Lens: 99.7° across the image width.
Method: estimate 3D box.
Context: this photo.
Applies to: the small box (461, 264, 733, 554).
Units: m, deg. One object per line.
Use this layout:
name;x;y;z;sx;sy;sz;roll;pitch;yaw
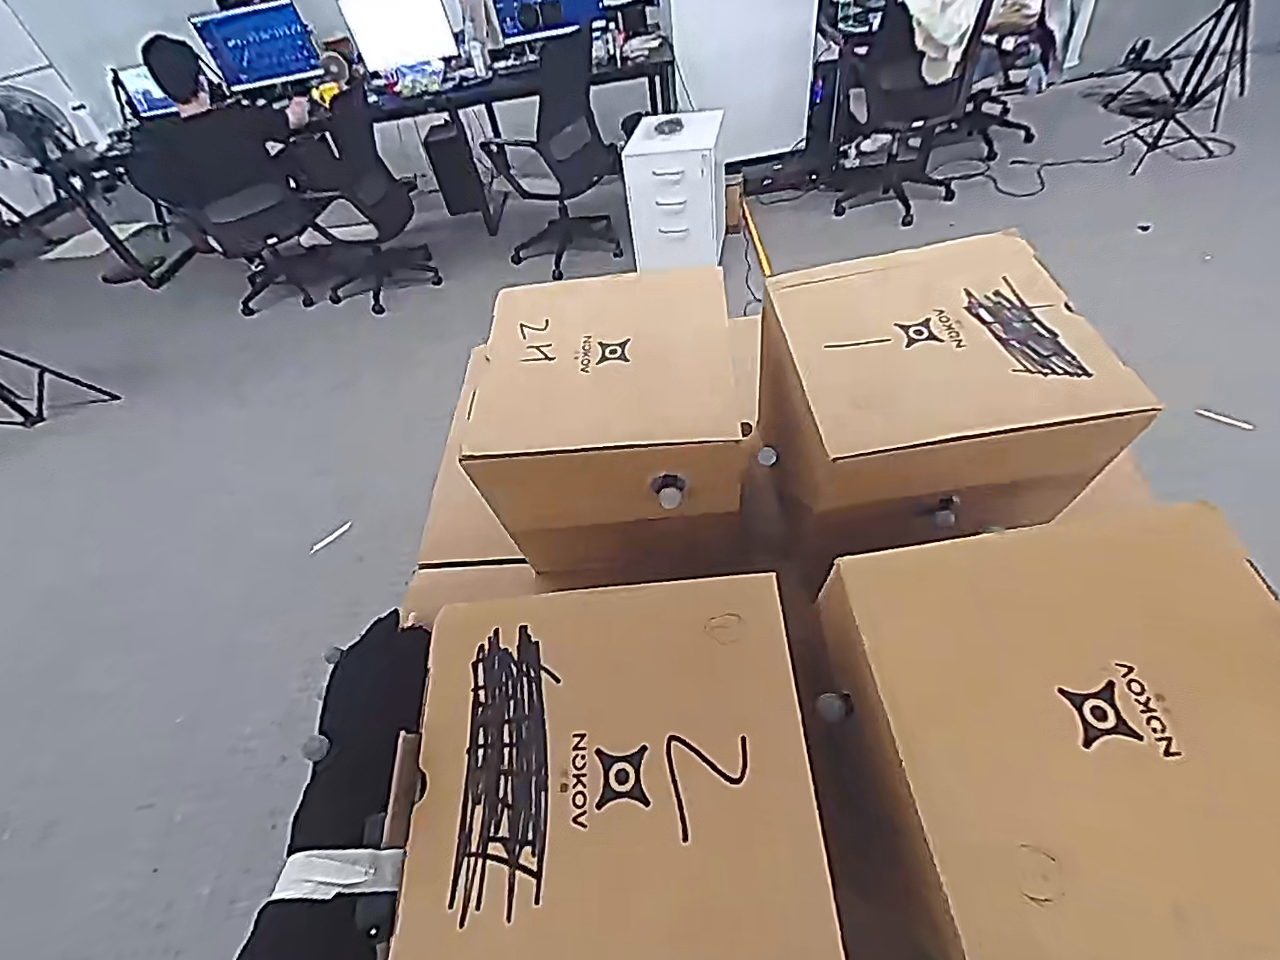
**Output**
small box;-0.017;-0.049;0.446;0.179;0.176;0.168;-3;55;8
